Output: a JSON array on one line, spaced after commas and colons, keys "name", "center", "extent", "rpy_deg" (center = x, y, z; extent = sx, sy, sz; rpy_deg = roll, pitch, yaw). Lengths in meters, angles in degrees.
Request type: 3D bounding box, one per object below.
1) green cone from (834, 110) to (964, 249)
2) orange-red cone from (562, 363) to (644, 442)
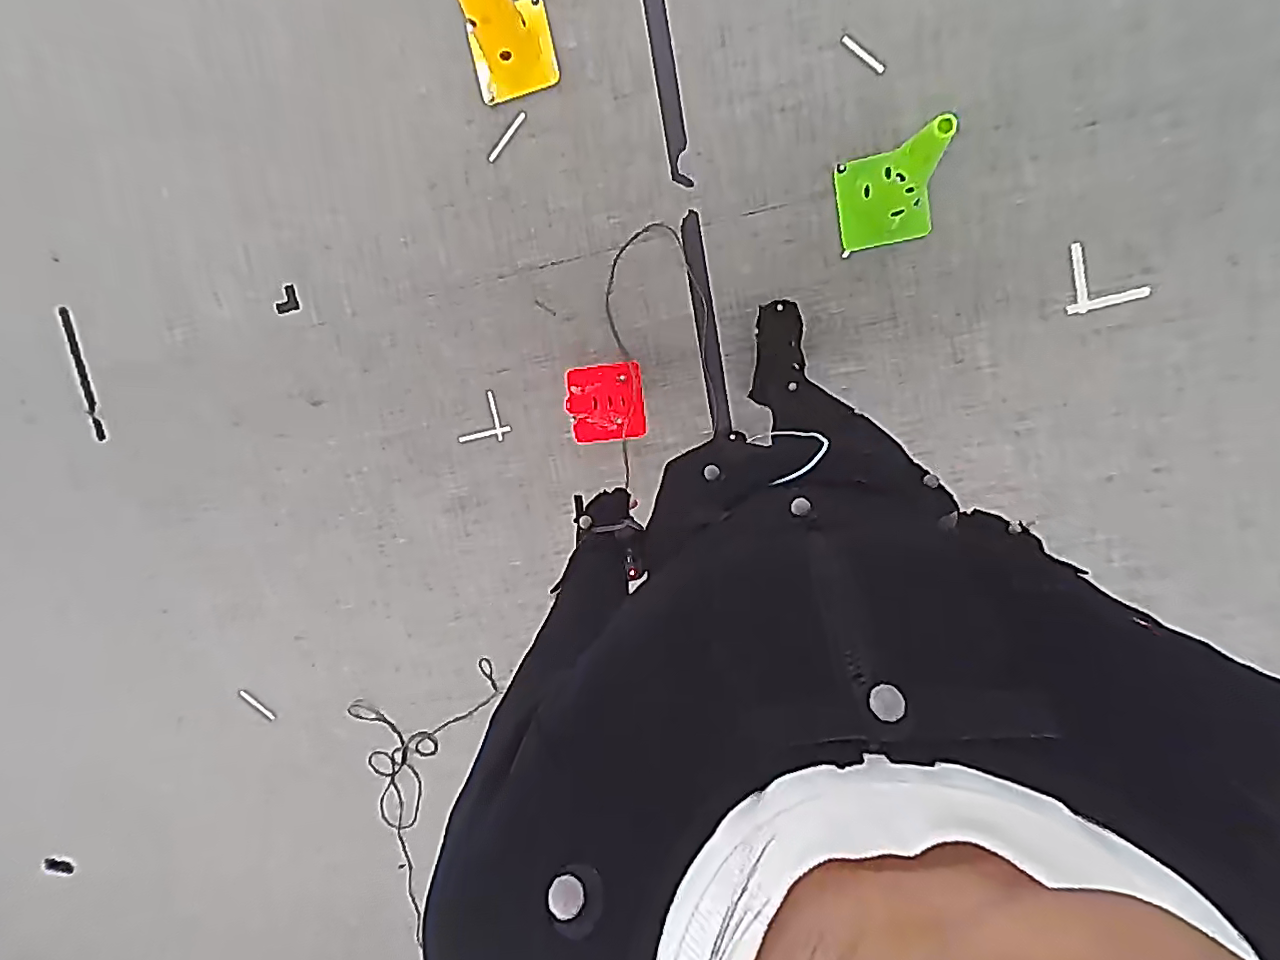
[{"name": "green cone", "center": [0.544, -0.628, 1.091], "extent": [0.202, 0.368, 0.200], "rpy_deg": [-10, 98, 8]}, {"name": "orange-red cone", "center": [-0.116, -0.179, 1.254], "extent": [0.199, 0.360, 0.198], "rpy_deg": [-5, 97, 9]}]
